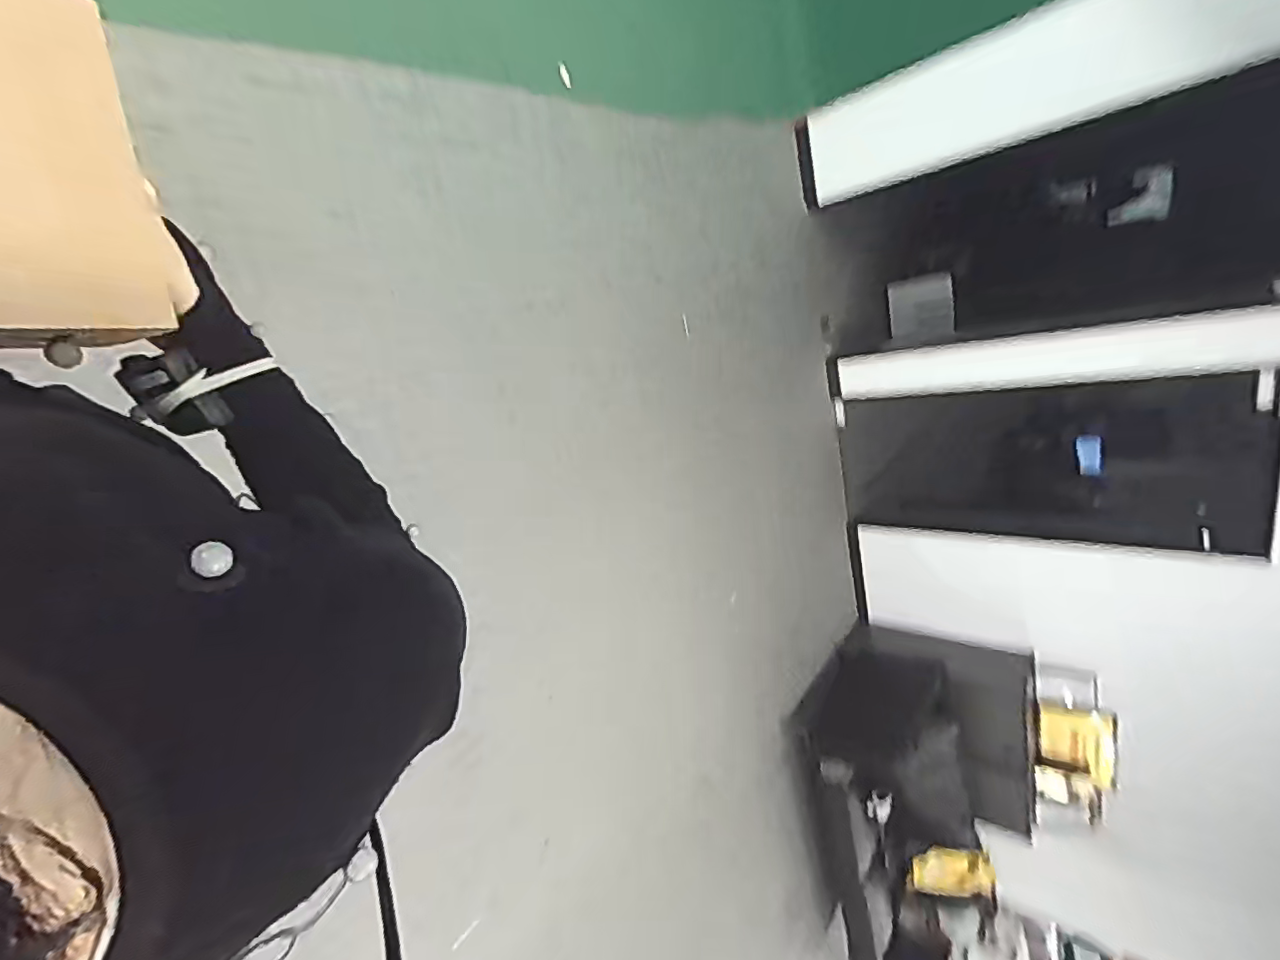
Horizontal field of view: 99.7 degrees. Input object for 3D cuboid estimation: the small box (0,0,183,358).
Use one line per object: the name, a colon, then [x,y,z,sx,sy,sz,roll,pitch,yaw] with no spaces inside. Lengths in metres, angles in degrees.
small box: [-0.393,-0.153,0.285,0.179,0.176,0.168,-19,109,-53]
